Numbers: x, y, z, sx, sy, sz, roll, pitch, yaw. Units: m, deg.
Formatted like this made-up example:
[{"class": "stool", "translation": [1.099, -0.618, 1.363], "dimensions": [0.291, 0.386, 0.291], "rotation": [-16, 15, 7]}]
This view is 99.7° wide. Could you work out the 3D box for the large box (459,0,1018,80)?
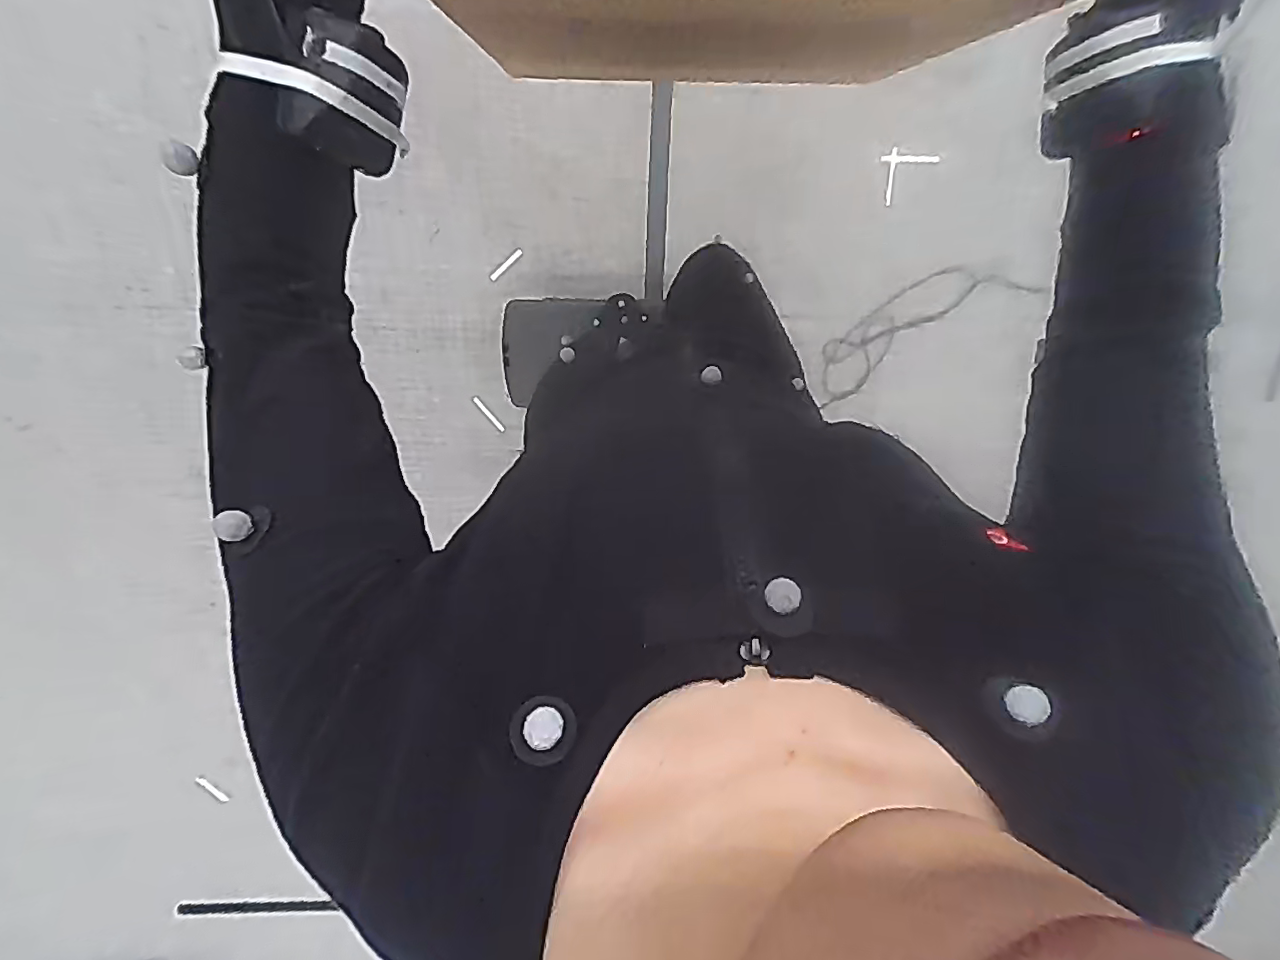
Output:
[{"class": "large box", "translation": [0.065, -0.505, 0.385], "dimensions": [0.408, 0.320, 0.320], "rotation": [-2, 119, -3]}]
